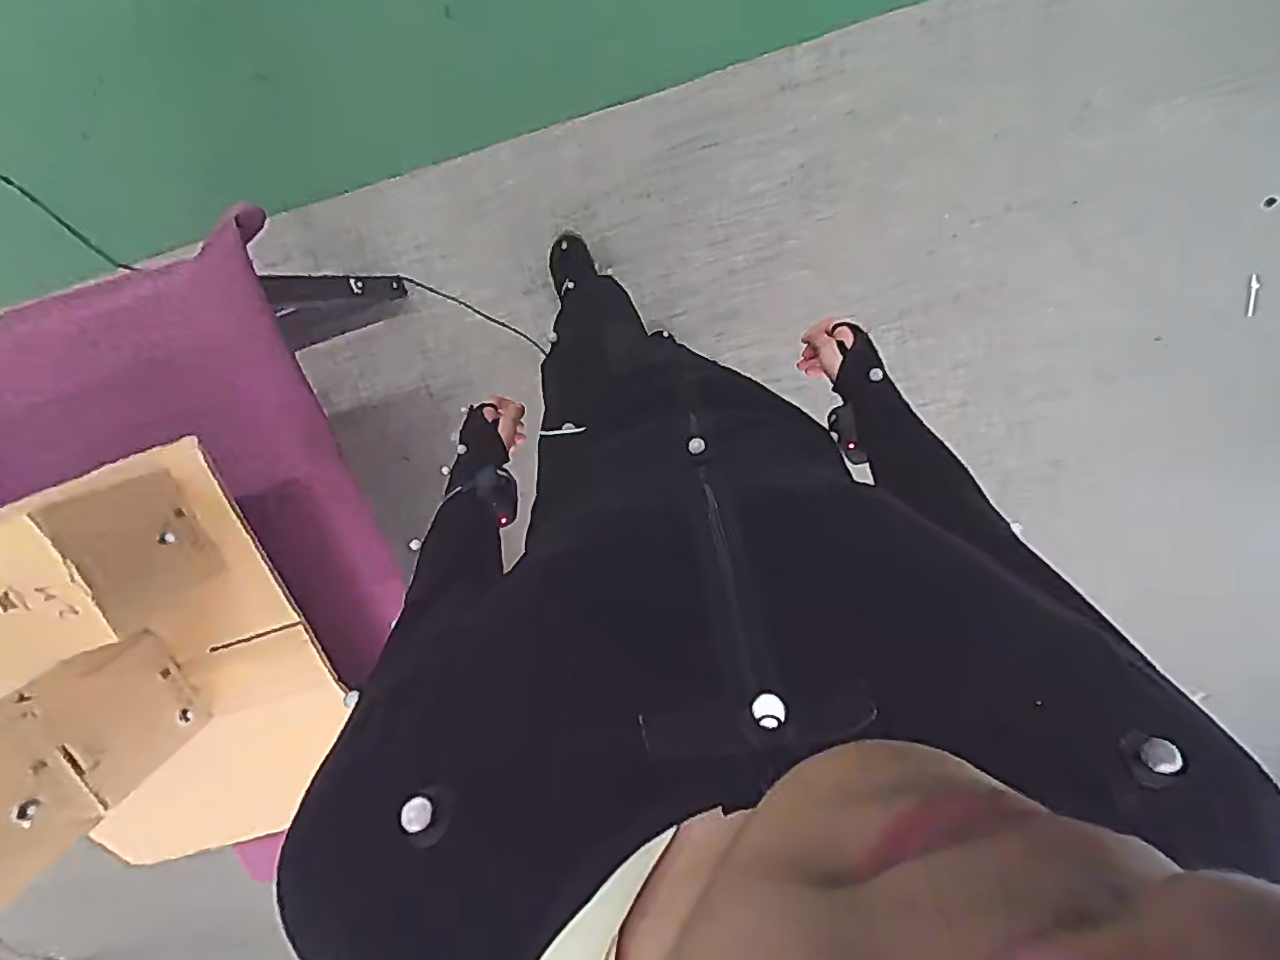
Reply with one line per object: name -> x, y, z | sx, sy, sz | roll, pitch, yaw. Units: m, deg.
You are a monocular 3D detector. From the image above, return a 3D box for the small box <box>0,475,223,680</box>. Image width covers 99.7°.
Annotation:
small box -> -0.685, 0.111, 0.670 | 0.179, 0.176, 0.168 | -17, 107, 6

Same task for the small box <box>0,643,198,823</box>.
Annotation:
small box -> -0.768, 0.352, 0.744 | 0.179, 0.176, 0.168 | -18, 105, 7

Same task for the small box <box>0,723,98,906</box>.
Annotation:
small box -> -0.779, 0.402, 0.591 | 0.179, 0.176, 0.168 | -19, 104, 6
